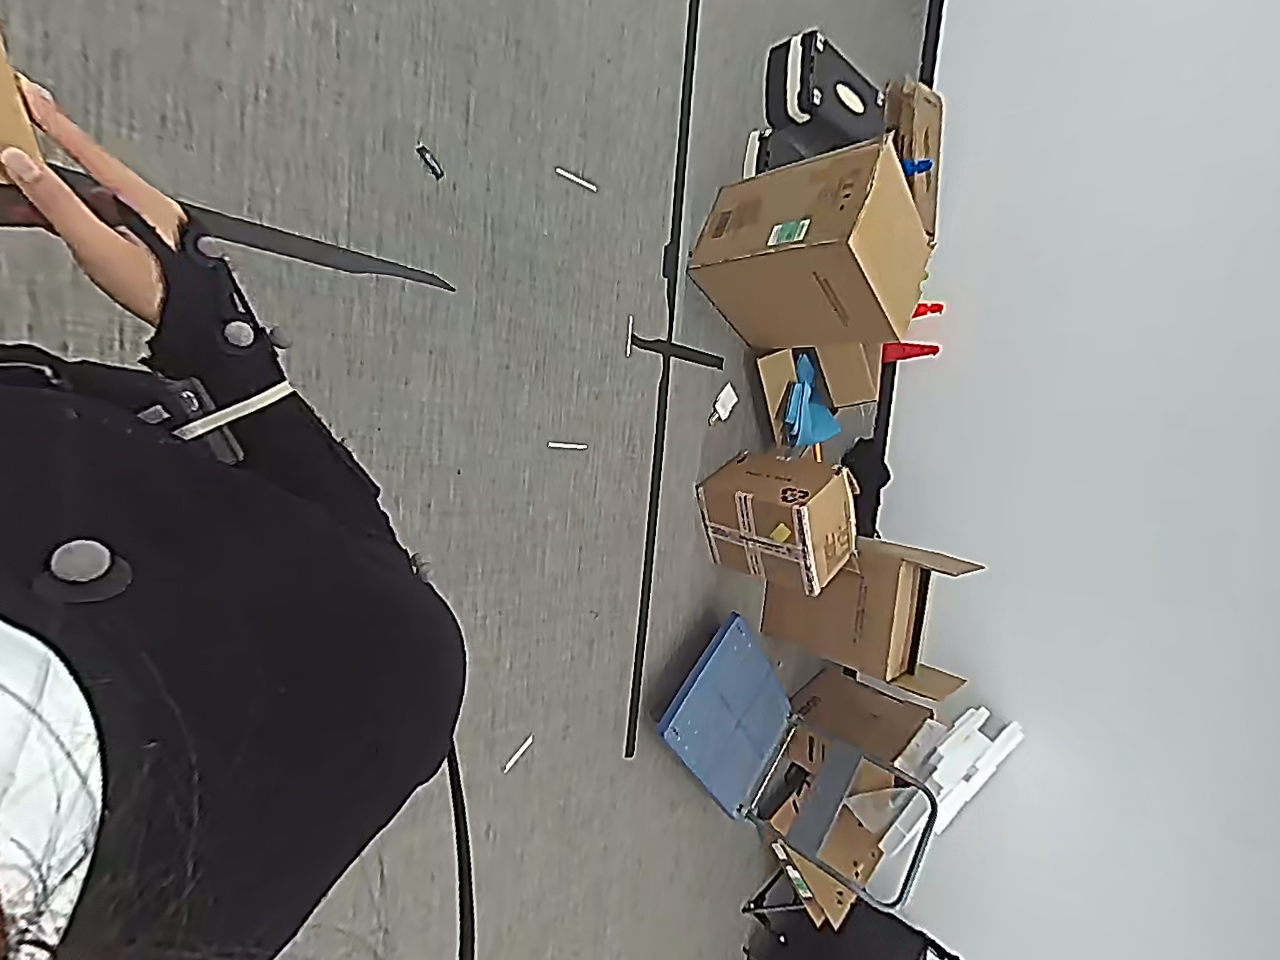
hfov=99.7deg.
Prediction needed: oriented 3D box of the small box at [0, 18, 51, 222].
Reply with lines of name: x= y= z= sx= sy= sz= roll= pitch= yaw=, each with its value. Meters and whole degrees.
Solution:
small box: x=-0.452 y=-0.236 z=0.277 sx=0.179 sy=0.176 sz=0.168 roll=-20 pitch=115 yaw=-43
